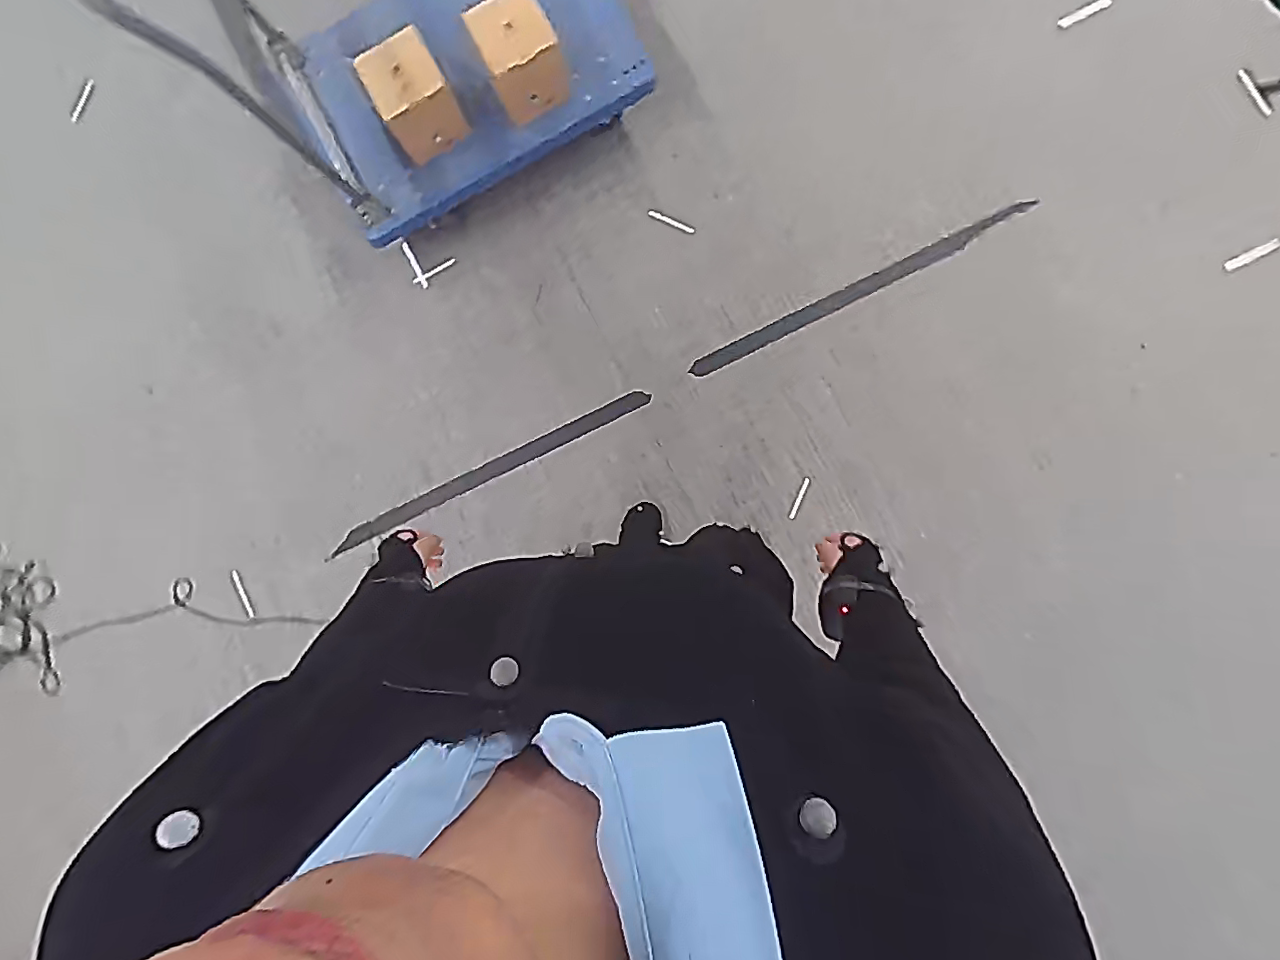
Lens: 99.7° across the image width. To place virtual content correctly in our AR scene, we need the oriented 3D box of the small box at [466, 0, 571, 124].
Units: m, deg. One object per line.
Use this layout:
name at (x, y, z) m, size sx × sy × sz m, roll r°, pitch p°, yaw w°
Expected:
small box at (-0.286, -1.021, 1.306) m, size 0.168 × 0.176 × 0.179 m, roll -28°, pitch 86°, yaw 2°

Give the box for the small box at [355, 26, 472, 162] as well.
small box at (-0.543, -0.928, 1.316) m, size 0.168 × 0.176 × 0.179 m, roll -29°, pitch 86°, yaw 2°
